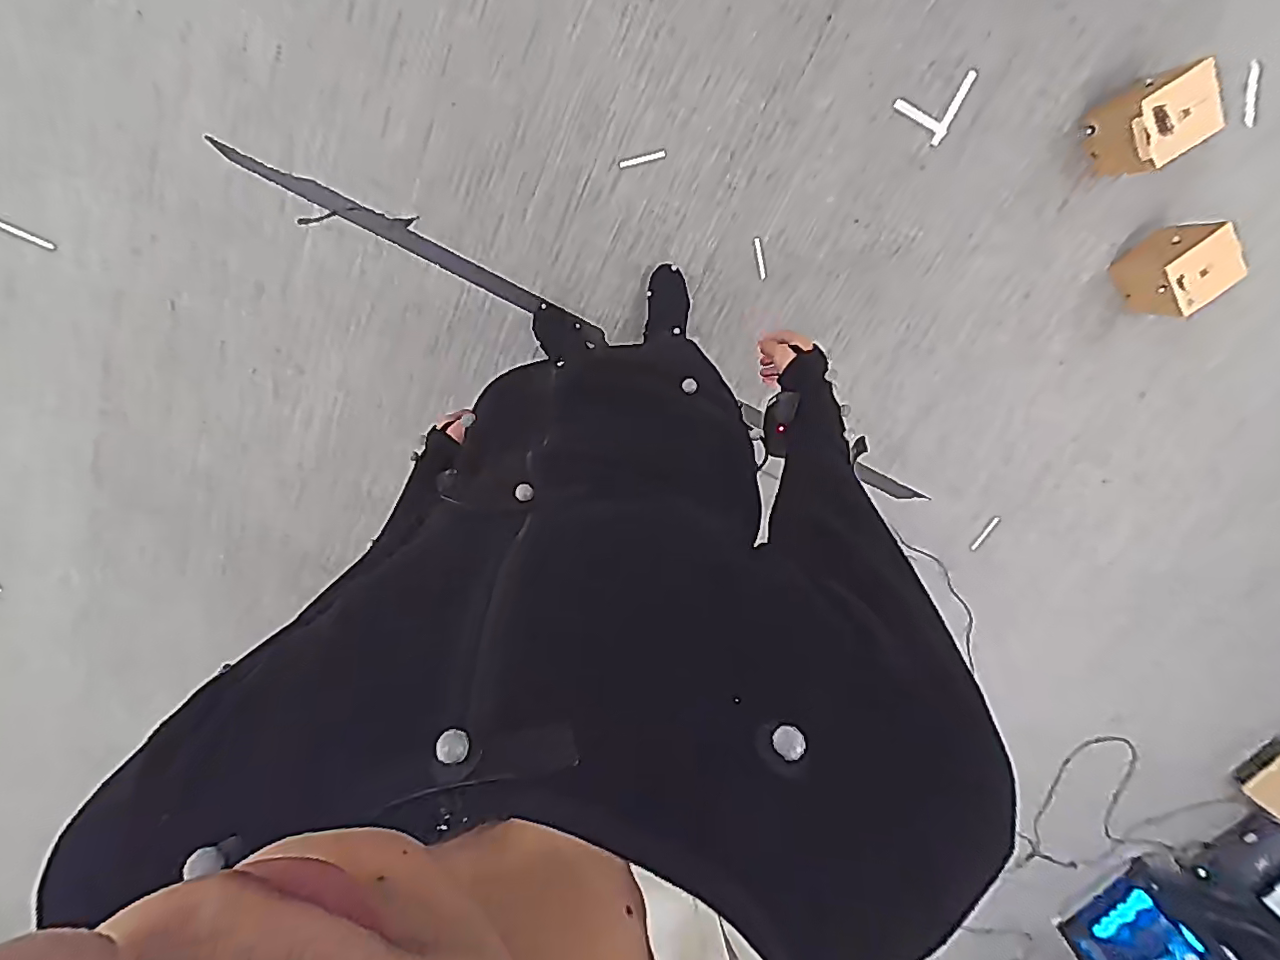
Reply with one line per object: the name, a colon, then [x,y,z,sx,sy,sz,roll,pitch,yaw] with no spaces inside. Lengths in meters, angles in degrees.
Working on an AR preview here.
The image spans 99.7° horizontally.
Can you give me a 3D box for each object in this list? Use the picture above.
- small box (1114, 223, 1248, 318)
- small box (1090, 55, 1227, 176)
small box: [1.458,-0.567,1.466,0.179,0.176,0.168,-38,109,10]
small box: [1.257,-0.879,1.328,0.179,0.176,0.168,-31,111,8]
